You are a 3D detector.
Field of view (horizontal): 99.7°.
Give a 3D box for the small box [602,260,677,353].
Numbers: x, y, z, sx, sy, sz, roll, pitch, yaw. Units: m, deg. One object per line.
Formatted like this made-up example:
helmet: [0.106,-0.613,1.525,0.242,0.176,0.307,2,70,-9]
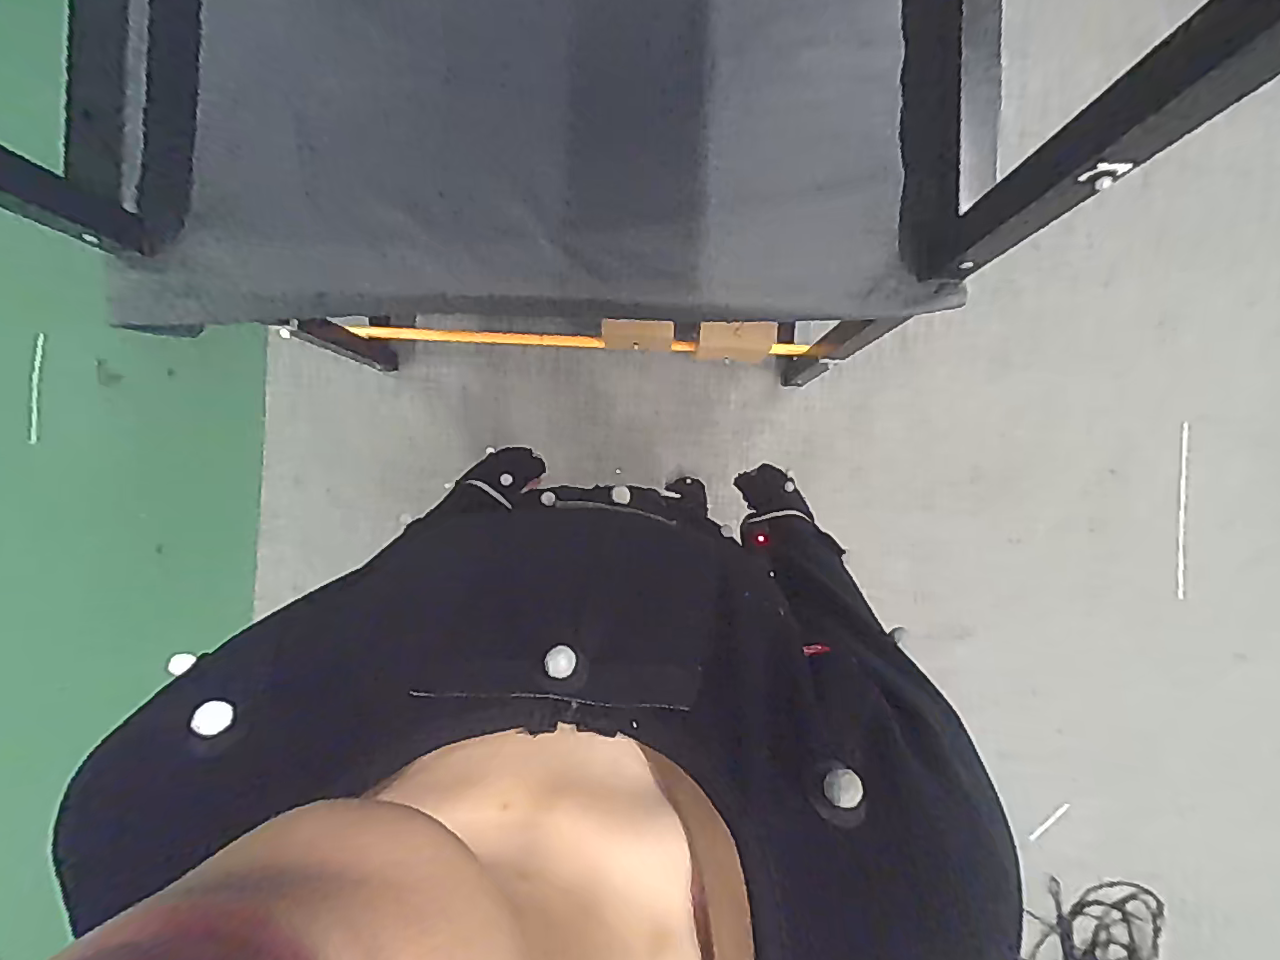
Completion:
small box: [0.002,-0.408,1.296,0.168,0.176,0.179,2,90,1]
